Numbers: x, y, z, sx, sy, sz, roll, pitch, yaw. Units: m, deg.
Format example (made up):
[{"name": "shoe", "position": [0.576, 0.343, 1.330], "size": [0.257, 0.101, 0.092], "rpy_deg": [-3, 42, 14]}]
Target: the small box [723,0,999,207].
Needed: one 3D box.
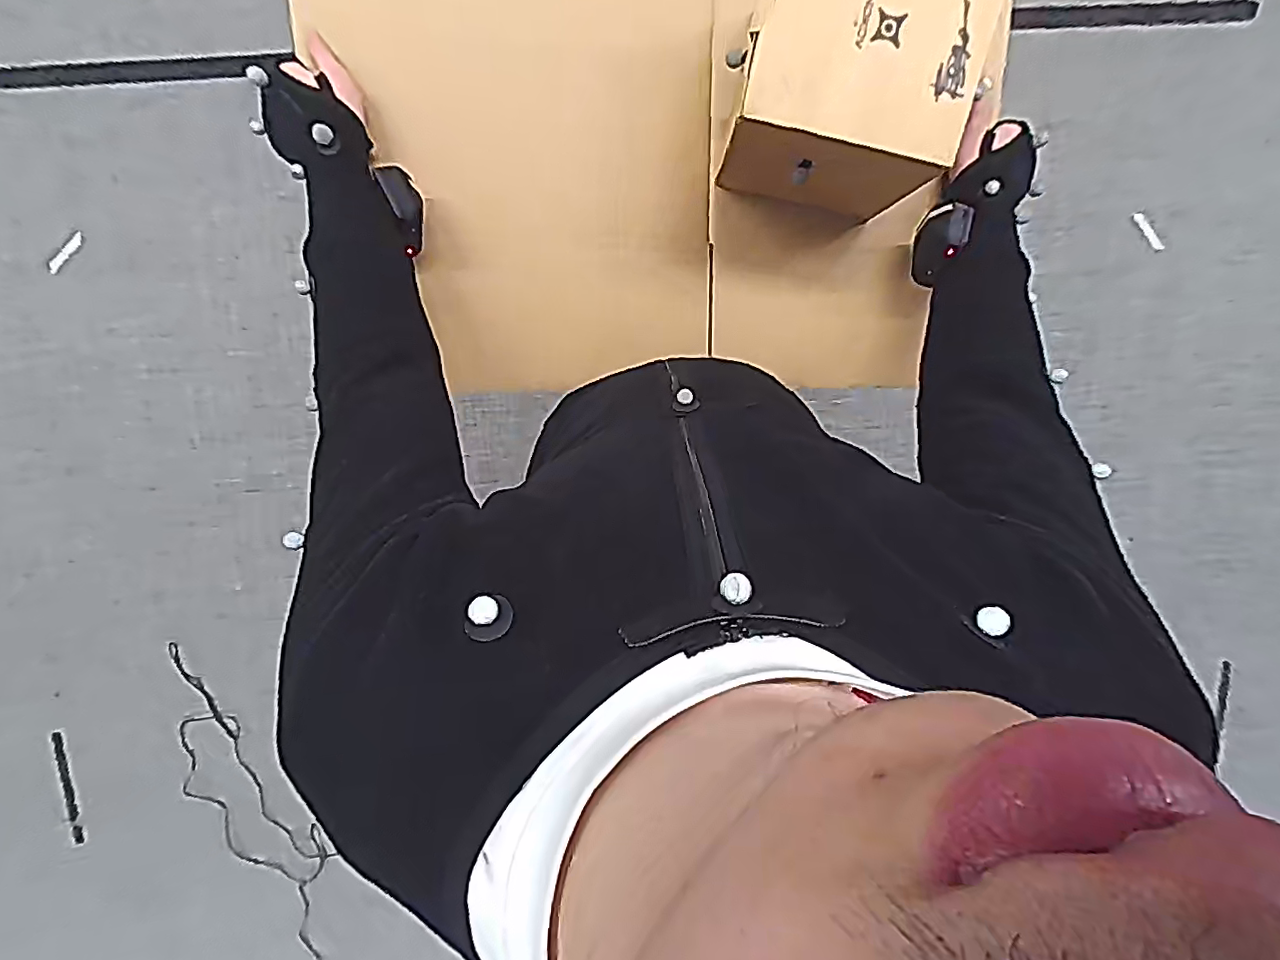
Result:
[{"name": "small box", "position": [0.182, -0.368, 0.488], "size": [0.179, 0.176, 0.168], "rpy_deg": [13, 103, -1]}]
